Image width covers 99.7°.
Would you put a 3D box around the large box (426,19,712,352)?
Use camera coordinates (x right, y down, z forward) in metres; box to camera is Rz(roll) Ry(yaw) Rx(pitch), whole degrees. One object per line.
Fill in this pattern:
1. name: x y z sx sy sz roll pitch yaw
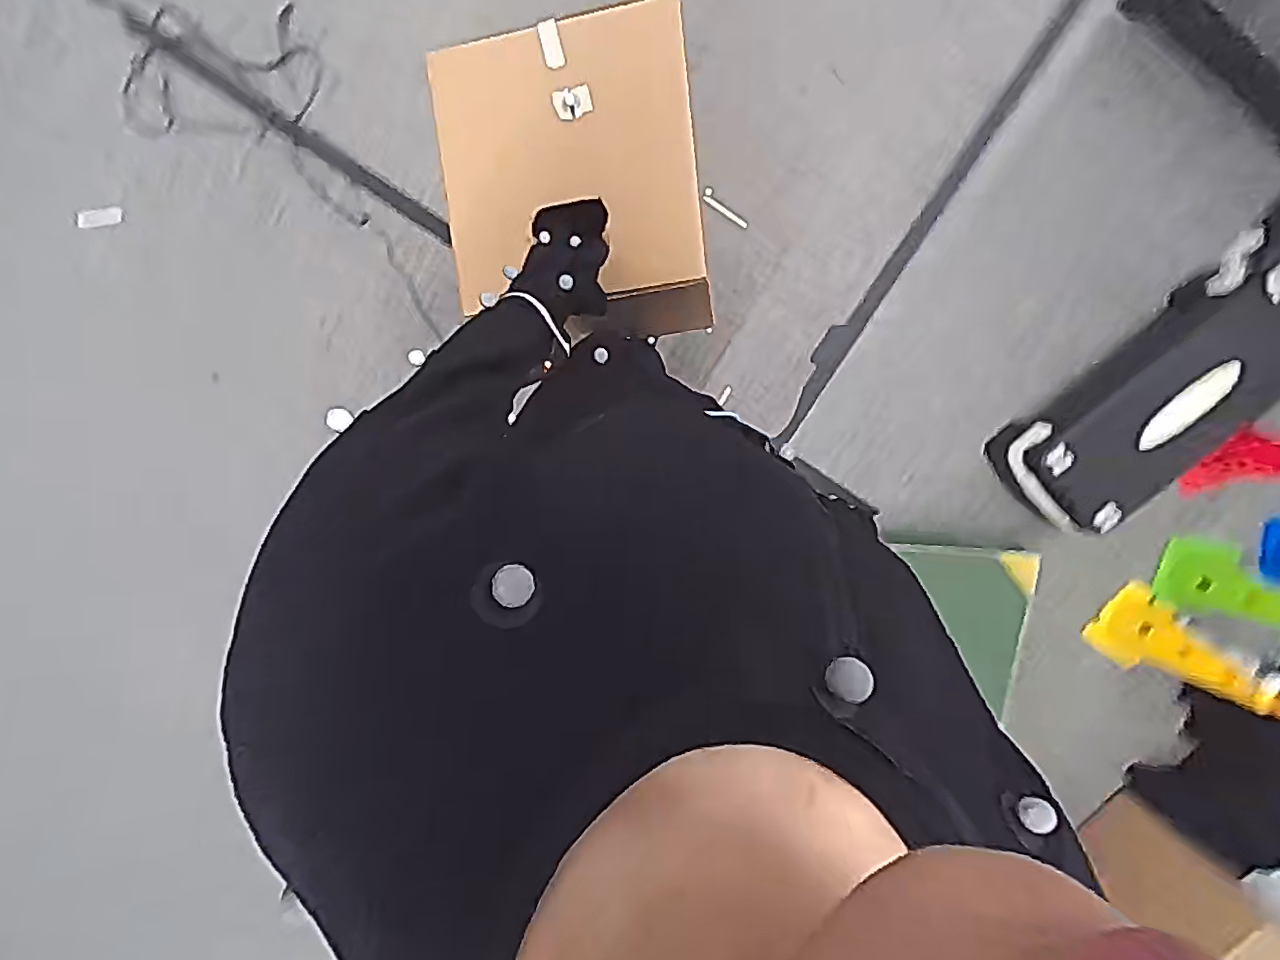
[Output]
1. large box: -0.067 -0.394 0.847 0.320 0.408 0.320 -6 98 10
